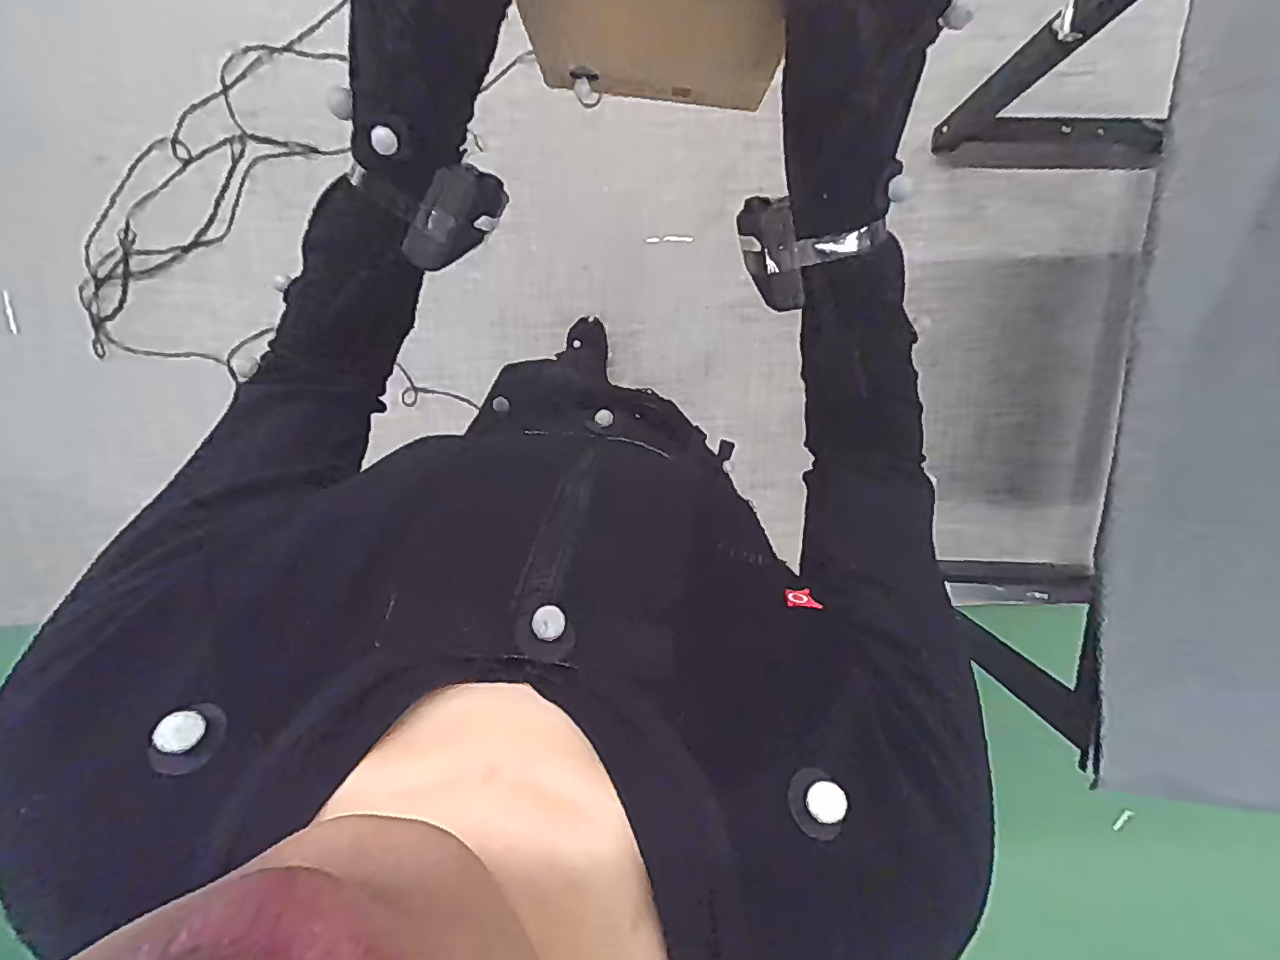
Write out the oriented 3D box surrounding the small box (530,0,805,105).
[{"bbox_3d":[0.023,-0.358,0.319,0.168,0.176,0.179,6,102,-2],"label":"small box"}]
